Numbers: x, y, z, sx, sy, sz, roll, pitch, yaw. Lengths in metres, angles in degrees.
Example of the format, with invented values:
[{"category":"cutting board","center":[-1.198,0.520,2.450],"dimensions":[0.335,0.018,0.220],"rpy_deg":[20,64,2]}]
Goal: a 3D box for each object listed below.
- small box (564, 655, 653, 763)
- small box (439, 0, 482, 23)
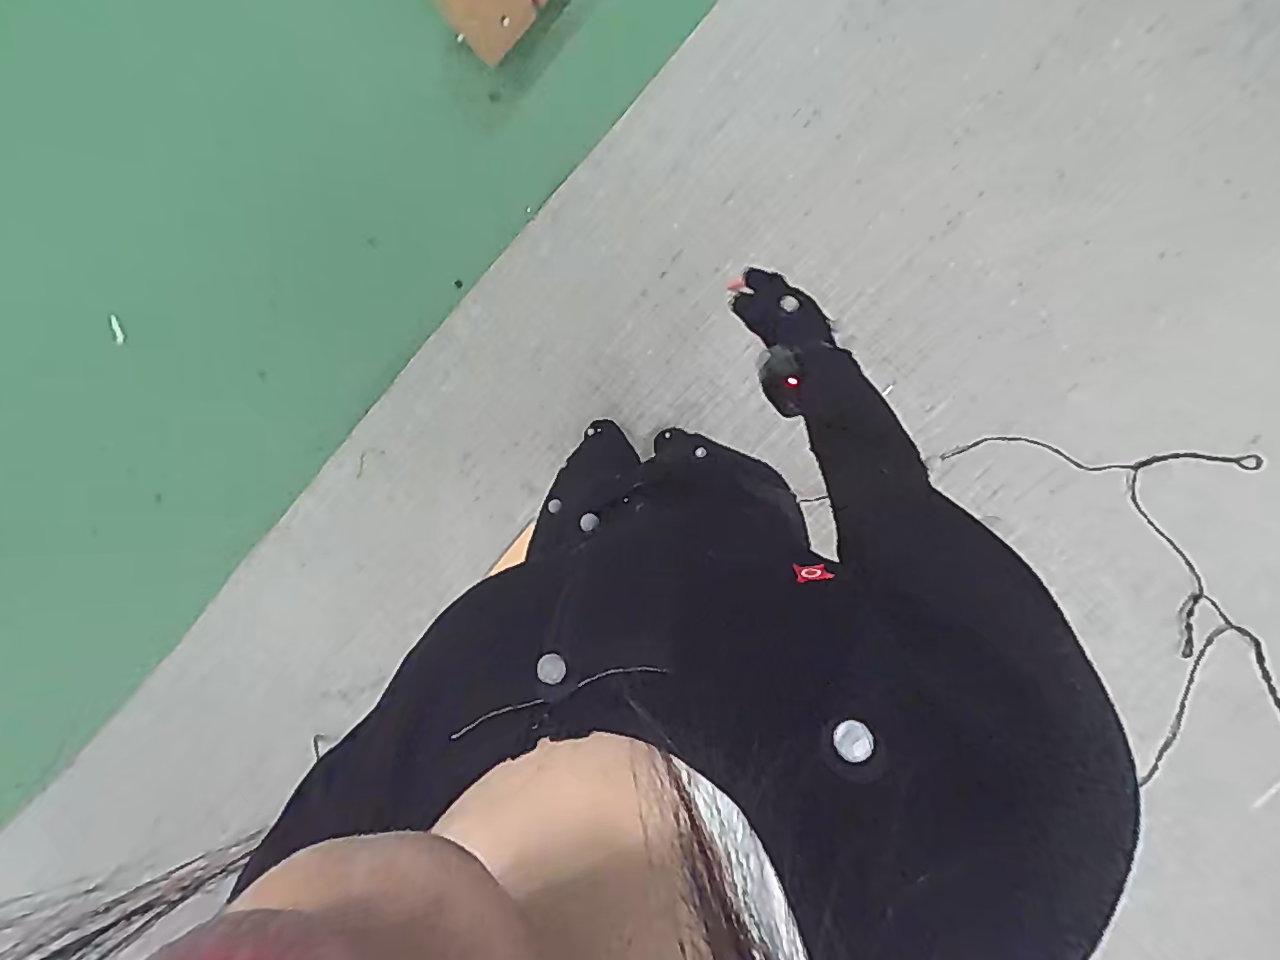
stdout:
[{"category":"small box","center":[-0.081,0.611,1.468],"dimensions":[0.168,0.176,0.179],"rpy_deg":[38,97,-2]},{"category":"small box","center":[-0.404,-1.136,1.138],"dimensions":[0.179,0.176,0.168],"rpy_deg":[-44,93,8]}]
